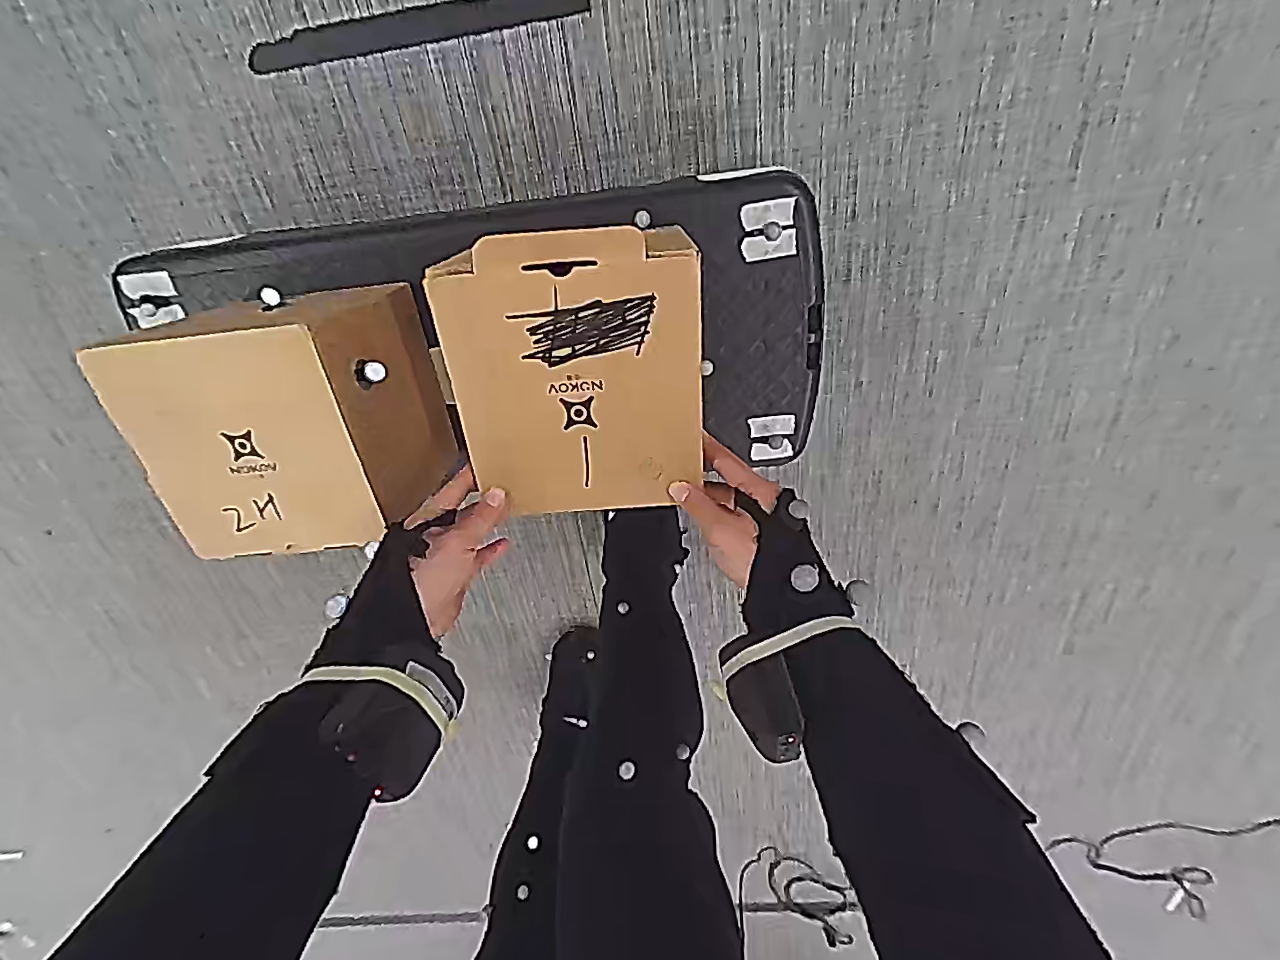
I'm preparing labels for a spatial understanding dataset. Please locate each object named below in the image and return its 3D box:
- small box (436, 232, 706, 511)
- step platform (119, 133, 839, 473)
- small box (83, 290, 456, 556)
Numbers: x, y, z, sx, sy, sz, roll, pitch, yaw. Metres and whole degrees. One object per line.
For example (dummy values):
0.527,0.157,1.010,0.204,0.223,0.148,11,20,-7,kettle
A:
-0.039,-0.096,0.431,0.168,0.176,0.179,-3,120,2,small box
-0.144,-0.172,0.594,0.684,0.204,0.286,-5,118,5,step platform
-0.278,-0.059,0.460,0.168,0.176,0.179,-5,118,4,small box
